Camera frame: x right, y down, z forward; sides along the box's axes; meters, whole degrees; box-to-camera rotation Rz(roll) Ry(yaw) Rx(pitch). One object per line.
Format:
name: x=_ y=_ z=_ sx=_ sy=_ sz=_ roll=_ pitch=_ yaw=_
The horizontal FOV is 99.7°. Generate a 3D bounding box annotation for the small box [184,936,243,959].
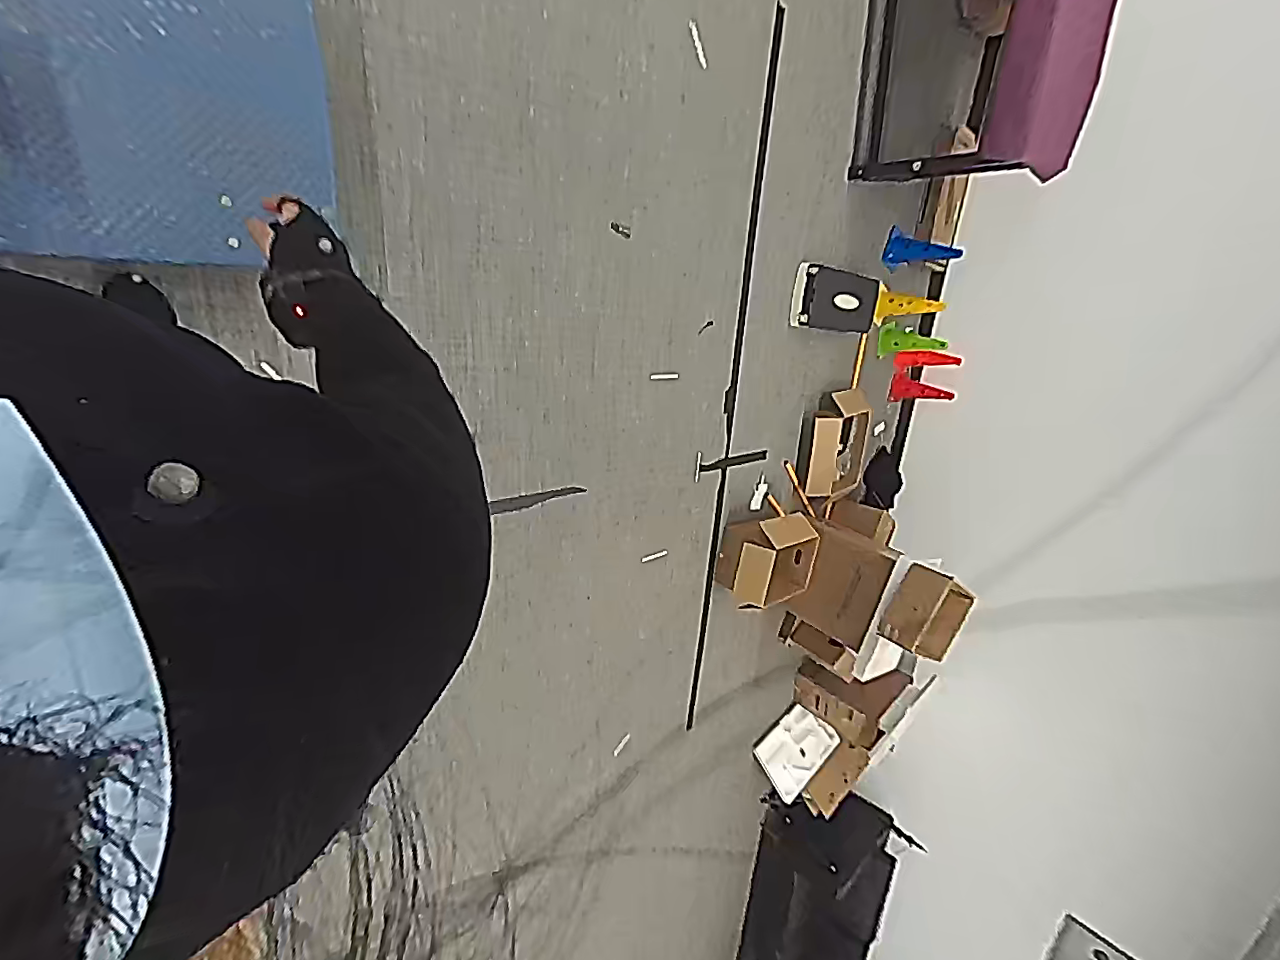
small box: x=-1.071 y=1.294 z=1.328 sx=0.168 sy=0.176 sz=0.179 roll=-7 pitch=111 yaw=-44
